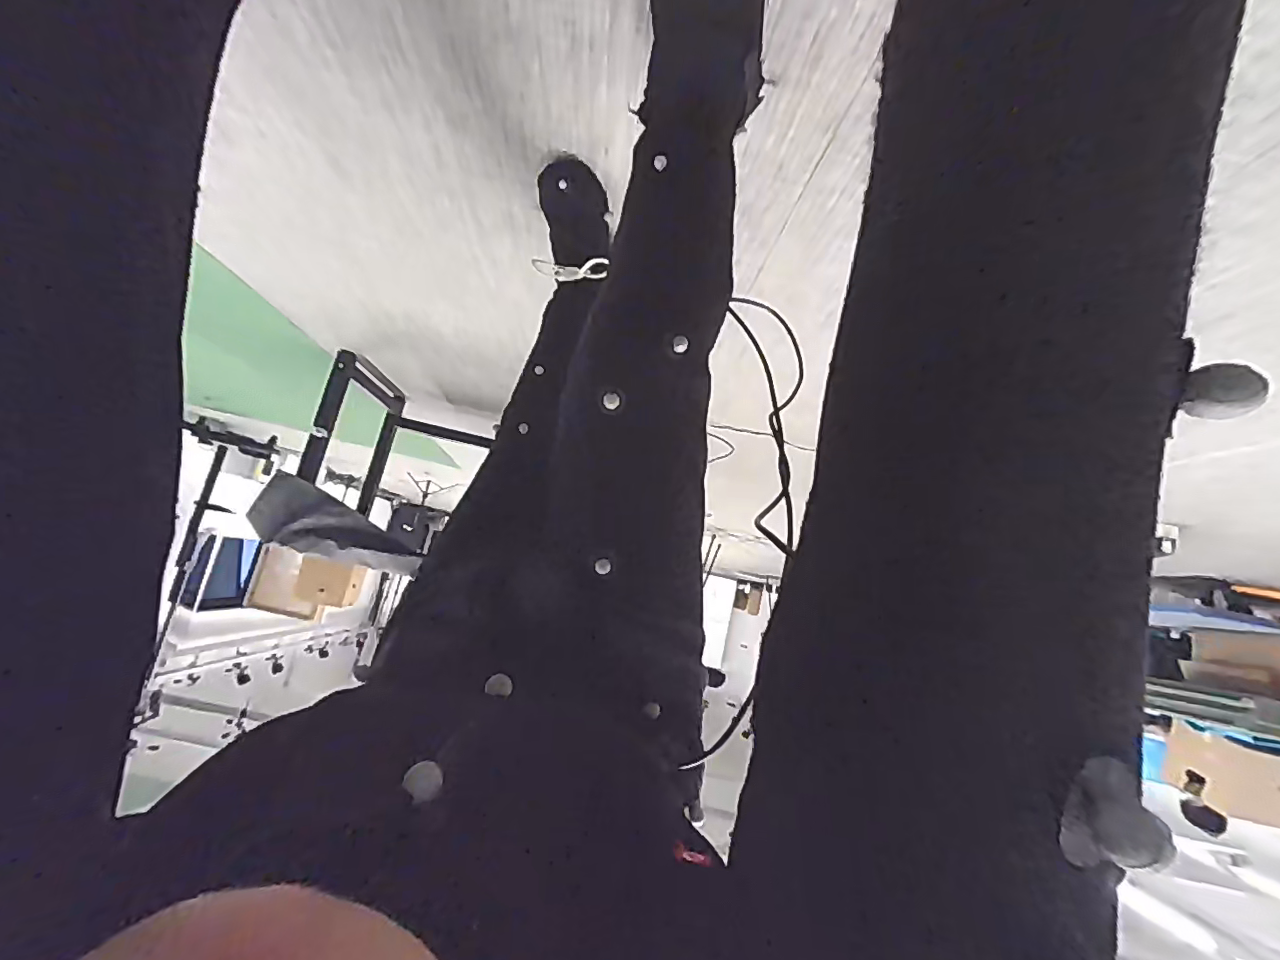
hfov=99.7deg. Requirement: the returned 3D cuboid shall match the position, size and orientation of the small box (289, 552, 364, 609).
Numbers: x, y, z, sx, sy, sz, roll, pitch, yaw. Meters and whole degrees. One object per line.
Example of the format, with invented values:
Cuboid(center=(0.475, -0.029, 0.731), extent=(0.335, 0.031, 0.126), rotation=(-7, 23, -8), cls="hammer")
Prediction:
Cuboid(center=(-1.124, 0.360, 1.960), extent=(0.179, 0.176, 0.168), rotation=(15, 168, -8), cls="small box")
